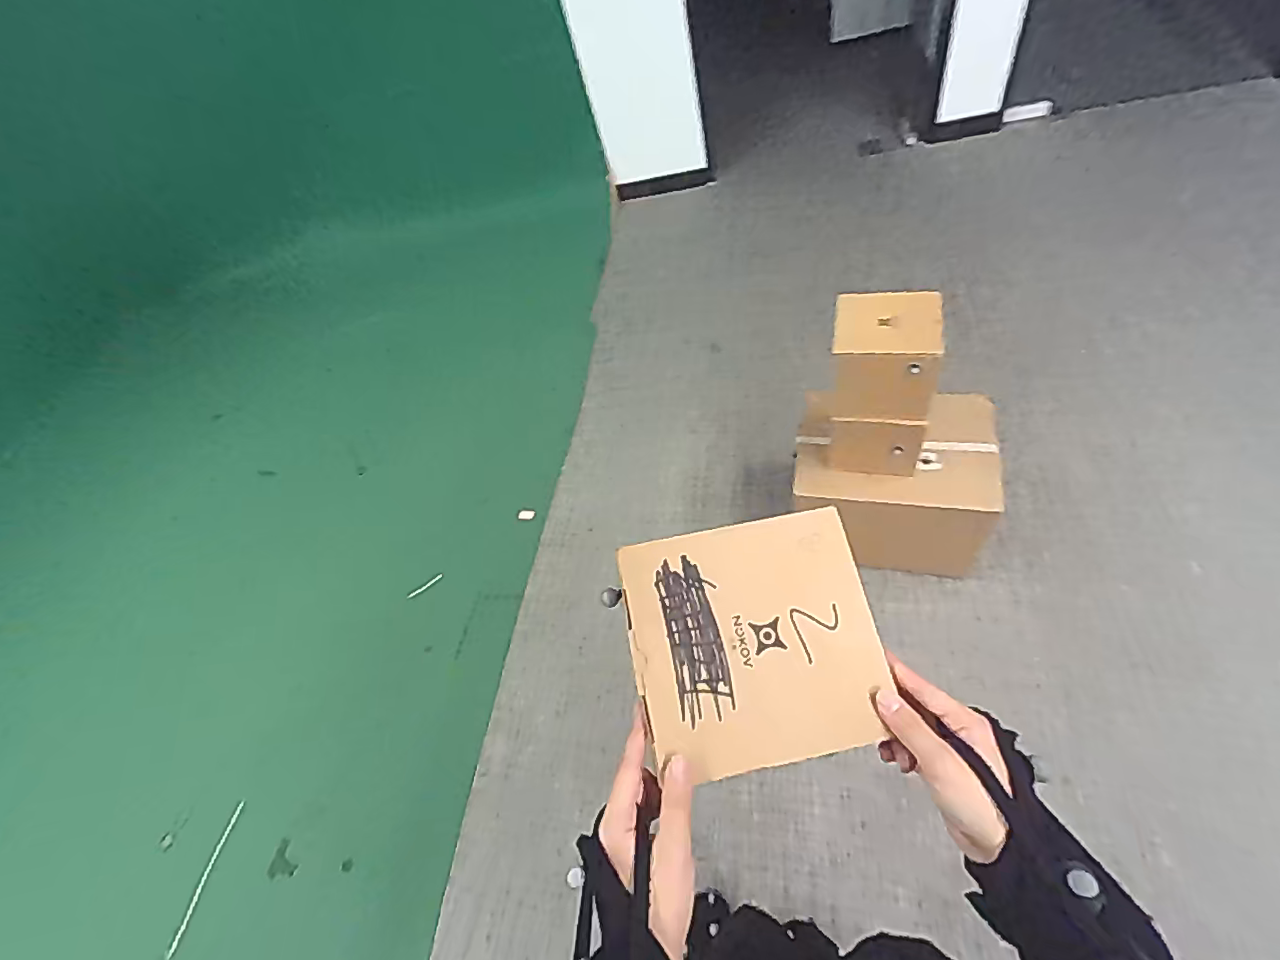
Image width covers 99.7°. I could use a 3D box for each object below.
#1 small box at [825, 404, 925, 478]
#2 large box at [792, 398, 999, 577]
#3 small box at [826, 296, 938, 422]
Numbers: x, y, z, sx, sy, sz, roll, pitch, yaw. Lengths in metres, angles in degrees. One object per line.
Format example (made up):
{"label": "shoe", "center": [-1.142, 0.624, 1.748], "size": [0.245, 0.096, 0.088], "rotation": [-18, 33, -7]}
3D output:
{"label": "small box", "center": [0.490, -0.119, 1.141], "size": [0.179, 0.176, 0.168], "rotation": [4, 55, 21]}
{"label": "large box", "center": [0.587, 0.017, 1.322], "size": [0.408, 0.320, 0.320], "rotation": [5, 58, 18]}
{"label": "small box", "center": [0.449, -0.225, 1.024], "size": [0.179, 0.176, 0.168], "rotation": [5, 55, 19]}
